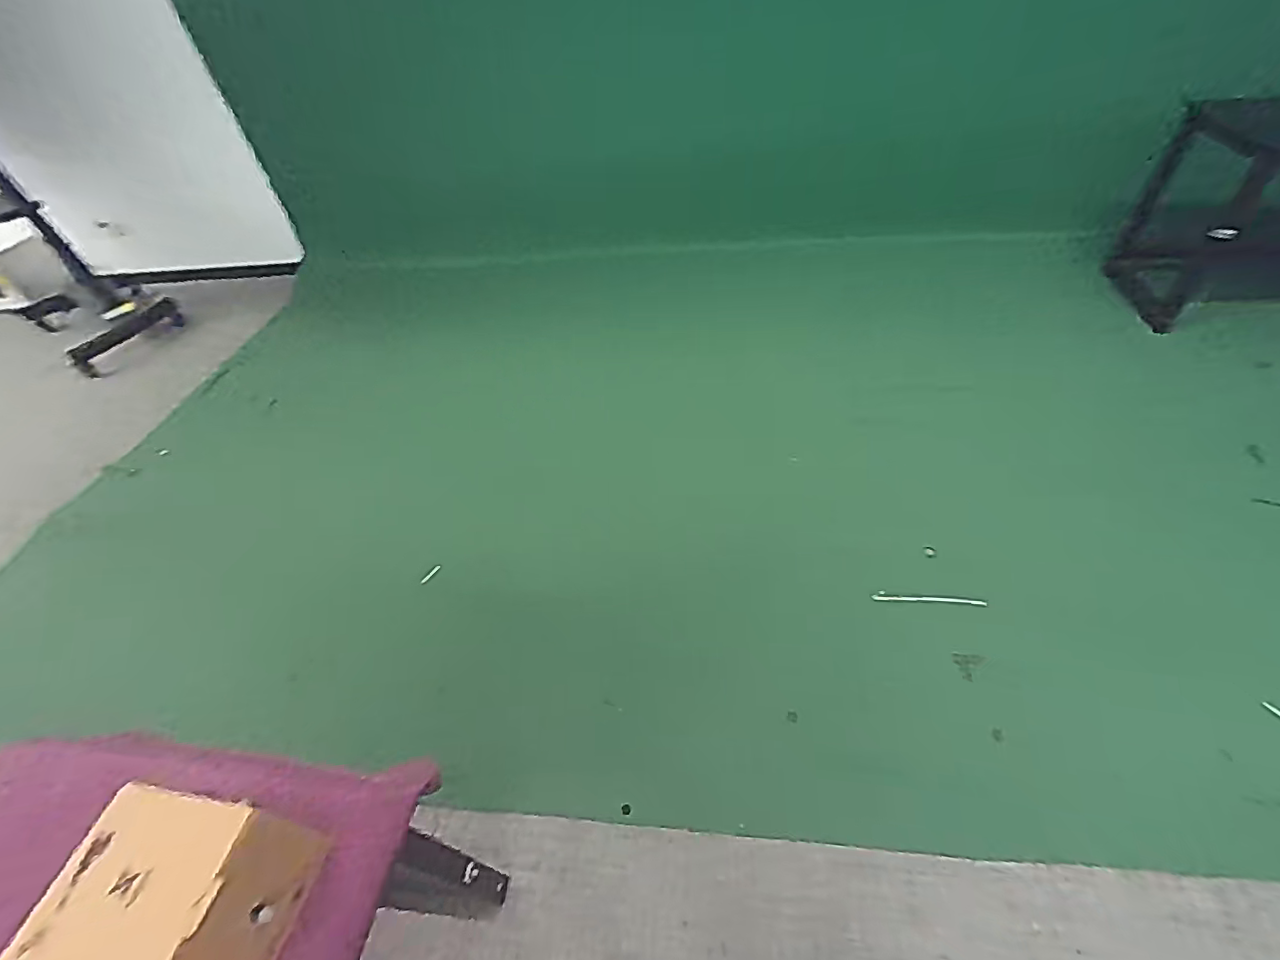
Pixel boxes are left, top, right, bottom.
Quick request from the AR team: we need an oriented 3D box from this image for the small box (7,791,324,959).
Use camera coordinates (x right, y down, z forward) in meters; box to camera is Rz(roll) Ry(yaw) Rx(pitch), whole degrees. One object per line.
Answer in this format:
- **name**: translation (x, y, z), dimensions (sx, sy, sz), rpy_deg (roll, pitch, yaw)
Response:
- **small box**: translation (-0.502, 0.471, 0.602), dimensions (0.179, 0.176, 0.168), rpy_deg (5, 49, 10)
